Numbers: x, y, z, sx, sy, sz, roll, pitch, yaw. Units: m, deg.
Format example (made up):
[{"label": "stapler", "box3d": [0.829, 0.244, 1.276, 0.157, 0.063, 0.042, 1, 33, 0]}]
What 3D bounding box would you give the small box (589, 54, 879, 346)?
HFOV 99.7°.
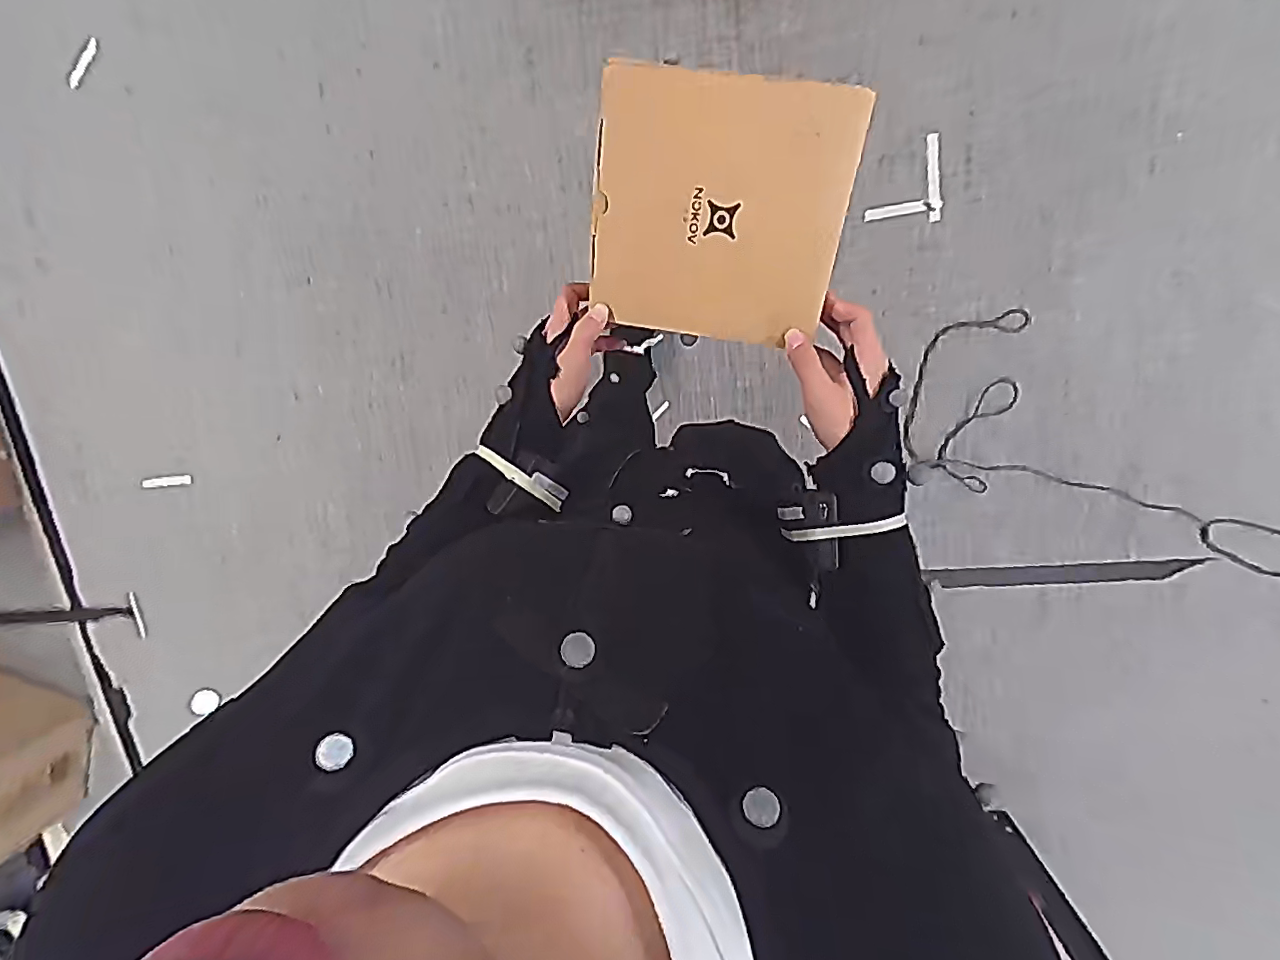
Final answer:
[{"label": "small box", "box3d": [0.068, -0.223, 0.448, 0.179, 0.176, 0.168, 11, 118, 6]}]
